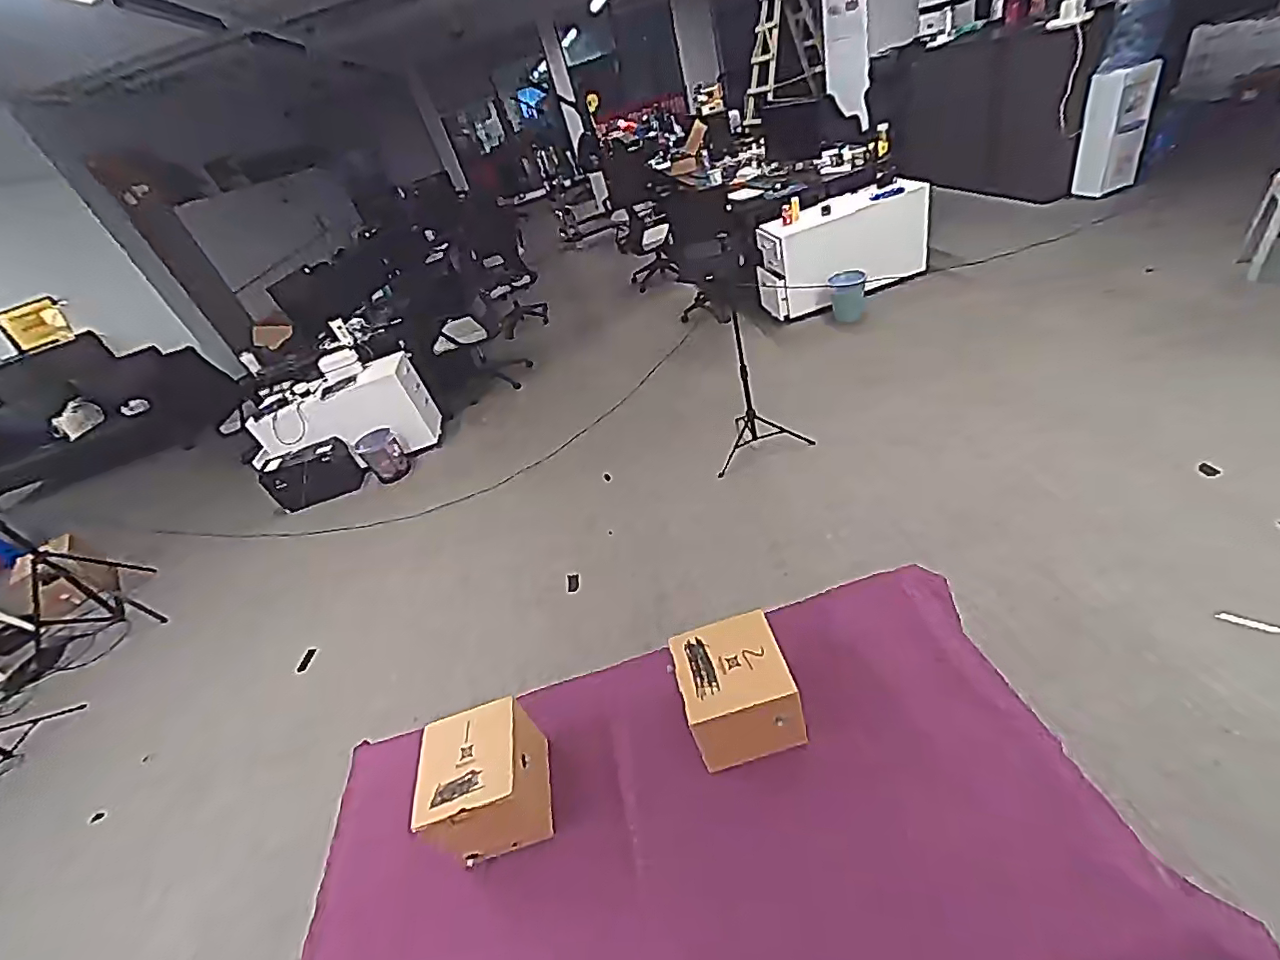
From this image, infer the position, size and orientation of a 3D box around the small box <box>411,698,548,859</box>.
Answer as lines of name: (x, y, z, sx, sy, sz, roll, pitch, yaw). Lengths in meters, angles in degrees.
small box: (-0.264, 0.517, 0.928, 0.168, 0.176, 0.179, -19, 36, 0)
